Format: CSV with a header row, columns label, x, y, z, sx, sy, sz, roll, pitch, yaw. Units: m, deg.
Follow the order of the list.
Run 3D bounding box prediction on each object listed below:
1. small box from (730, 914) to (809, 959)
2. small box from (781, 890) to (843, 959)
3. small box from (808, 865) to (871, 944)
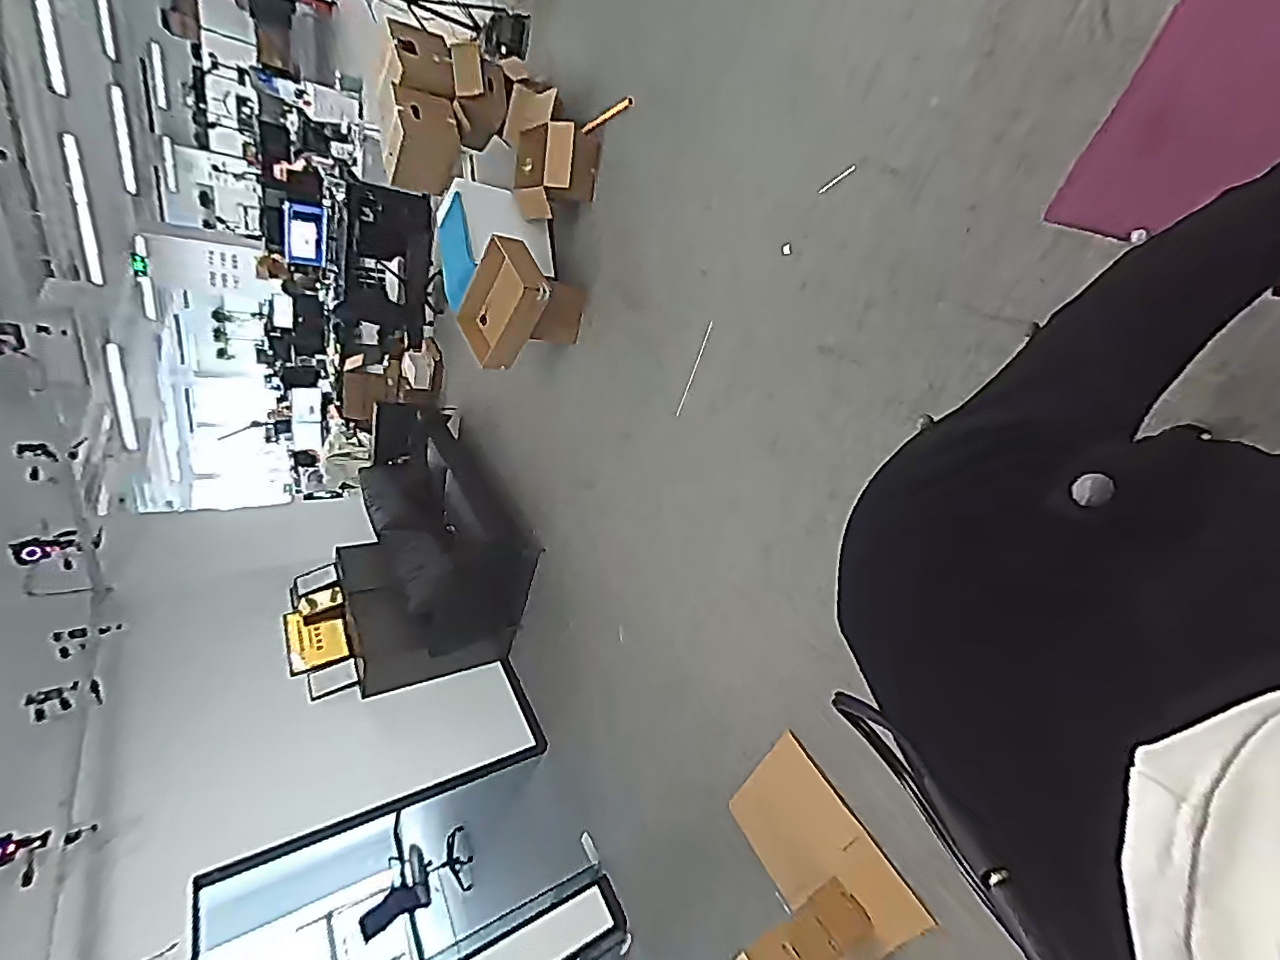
label,x,y,z,sx,sy,sz,roll,pitch,yaw
small box,0.427,1.565,1.752,0.168,0.176,0.179,46,130,40
small box,0.561,1.554,1.843,0.168,0.176,0.179,45,130,41
small box,0.692,1.541,1.939,0.168,0.176,0.179,42,126,43
